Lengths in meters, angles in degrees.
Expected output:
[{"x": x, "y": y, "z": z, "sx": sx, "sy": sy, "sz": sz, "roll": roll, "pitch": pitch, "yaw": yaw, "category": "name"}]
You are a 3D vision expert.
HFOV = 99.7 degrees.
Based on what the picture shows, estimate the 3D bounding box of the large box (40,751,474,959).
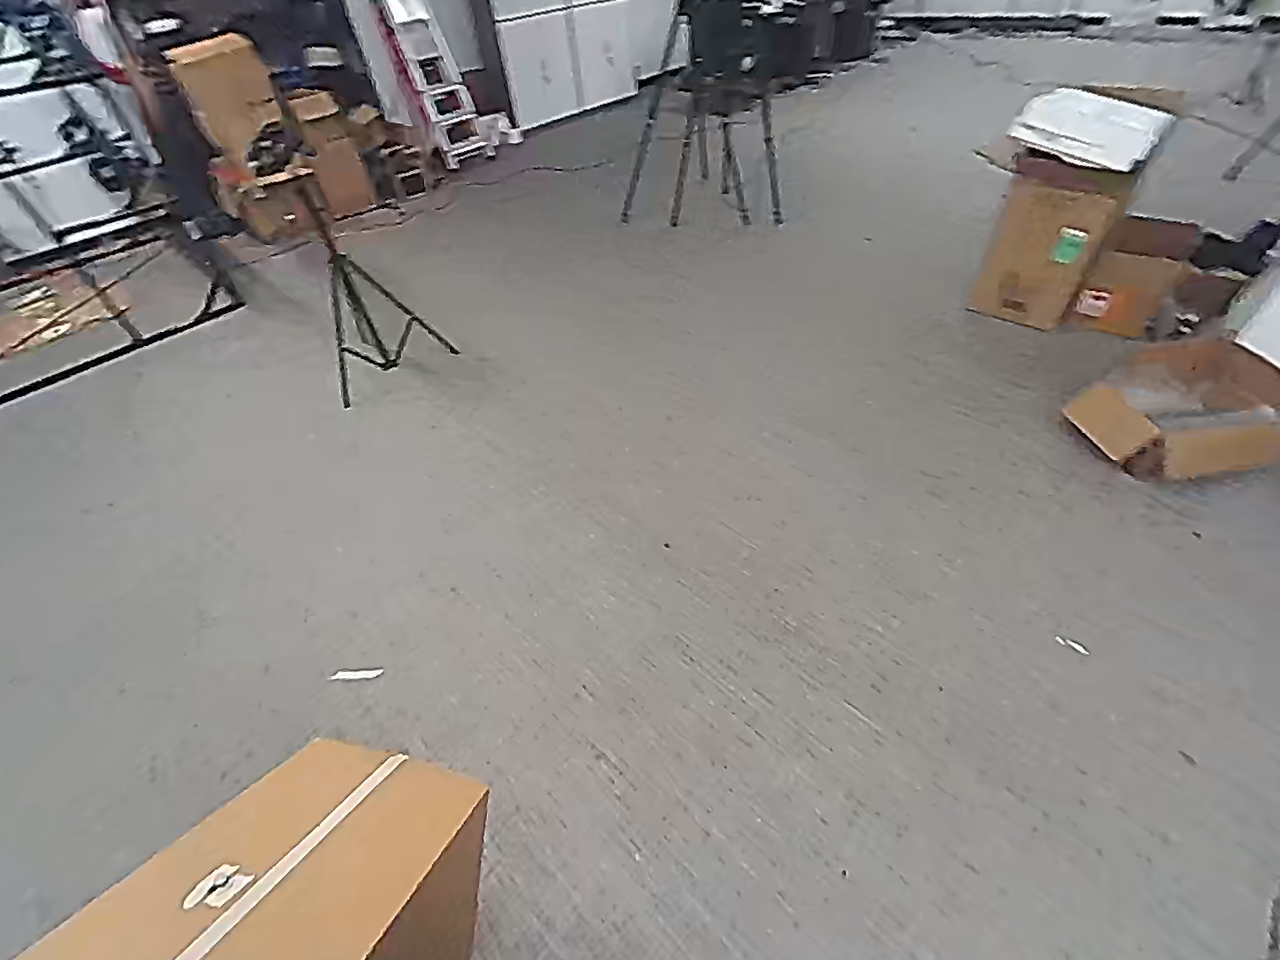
[{"x": -0.460, "y": 0.641, "z": 0.700, "sx": 0.320, "sy": 0.320, "sz": 0.408, "roll": 9, "pitch": 8, "yaw": 9, "category": "large box"}]
